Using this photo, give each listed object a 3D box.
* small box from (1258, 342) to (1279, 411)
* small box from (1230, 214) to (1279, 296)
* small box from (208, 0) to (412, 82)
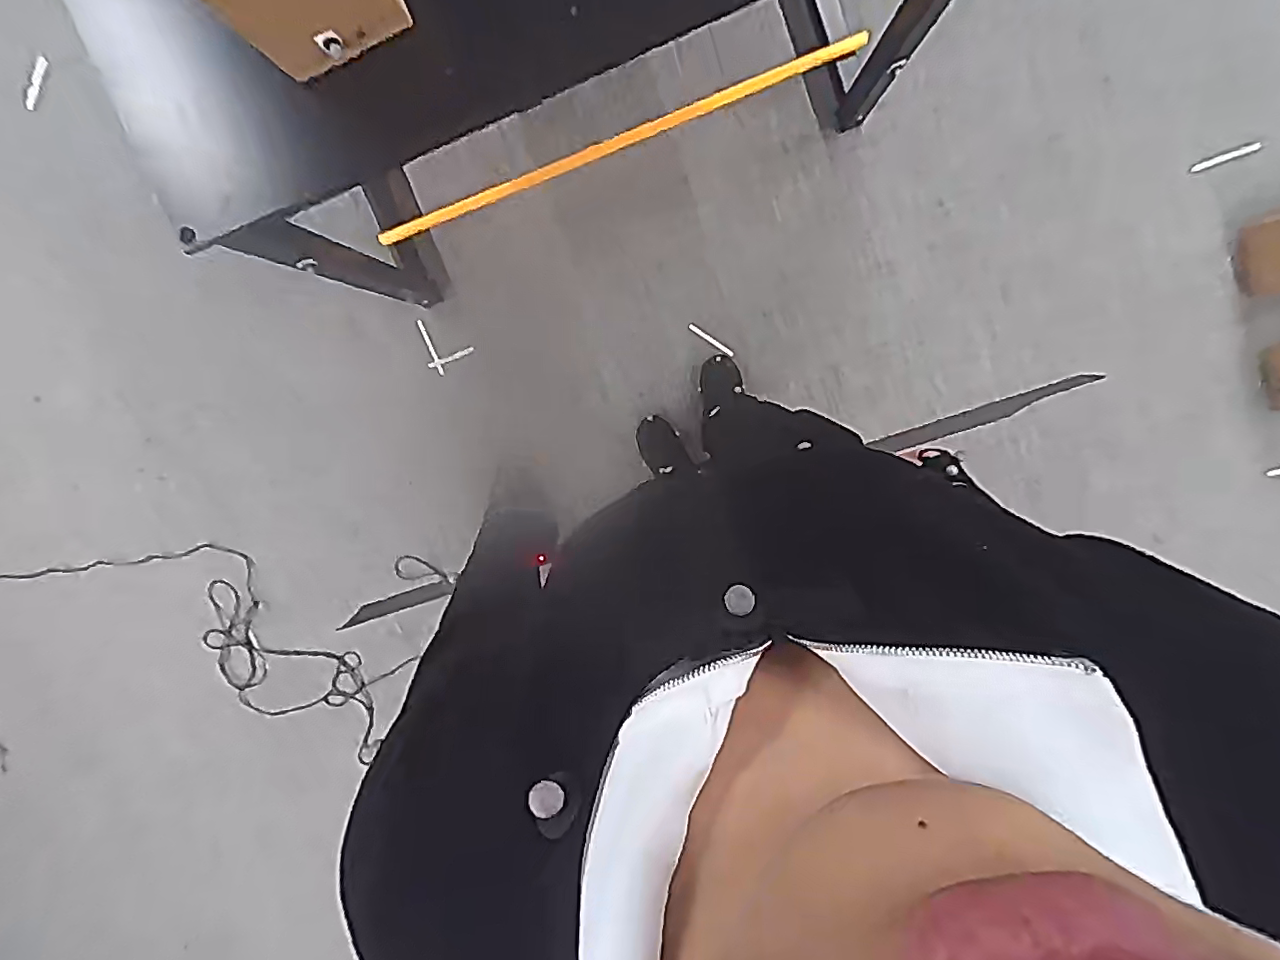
[{"bbox_3d":[1.650,-0.265,1.291,0.179,0.176,0.168,-22,99,7],"label":"small box"},{"bbox_3d":[1.535,-0.537,1.244,0.168,0.176,0.179,-18,99,6],"label":"small box"},{"bbox_3d":[-0.392,-0.599,0.595,0.168,0.176,0.179,-23,99,8],"label":"small box"}]
